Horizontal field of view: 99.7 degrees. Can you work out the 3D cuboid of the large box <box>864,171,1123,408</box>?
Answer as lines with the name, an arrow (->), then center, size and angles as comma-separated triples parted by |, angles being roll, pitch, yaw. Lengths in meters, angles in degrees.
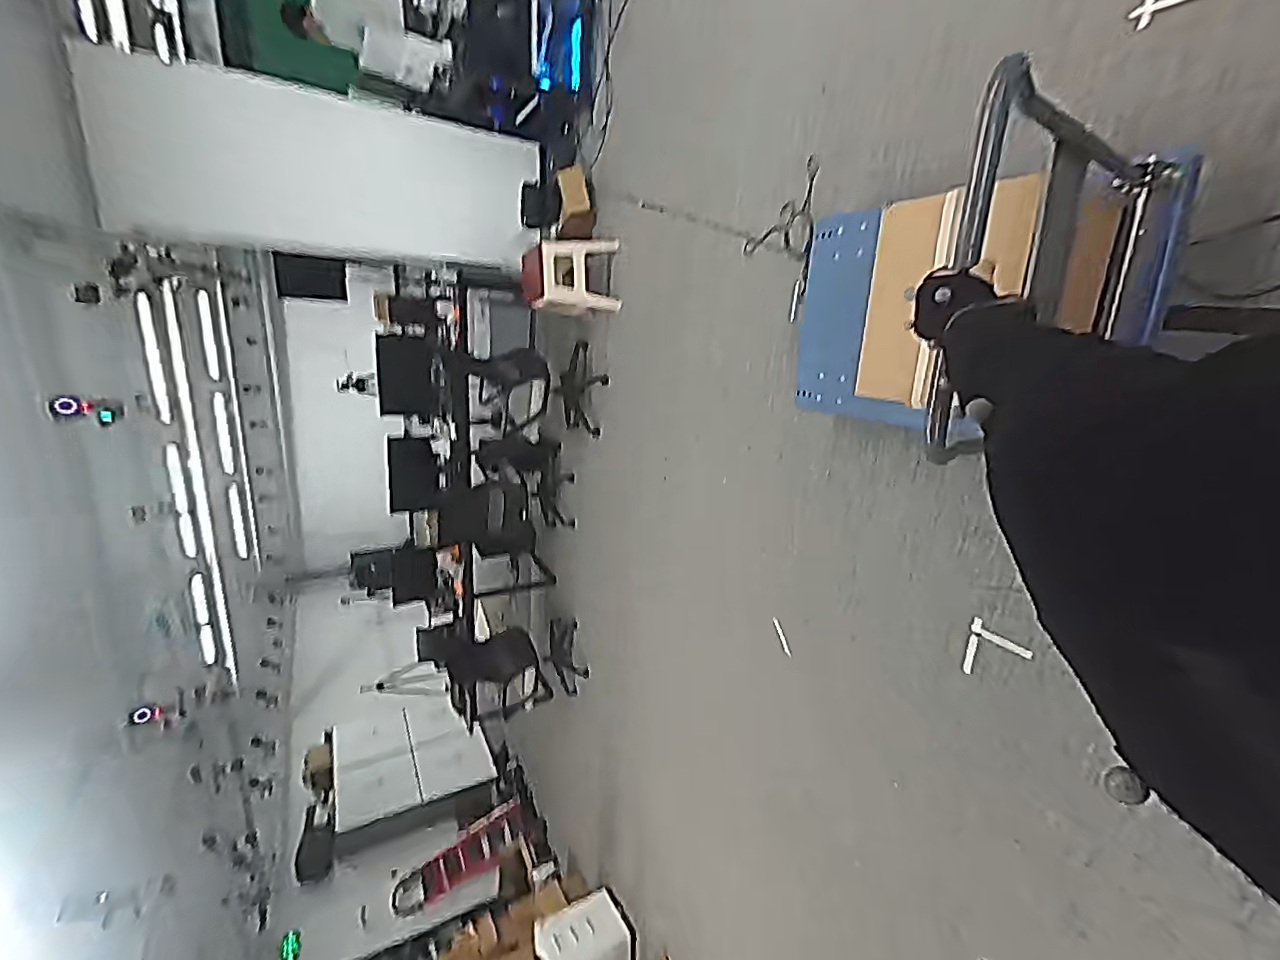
large box -> 0.725, -0.365, 1.140 | 0.320, 0.320, 0.408 | 25, 115, 56
